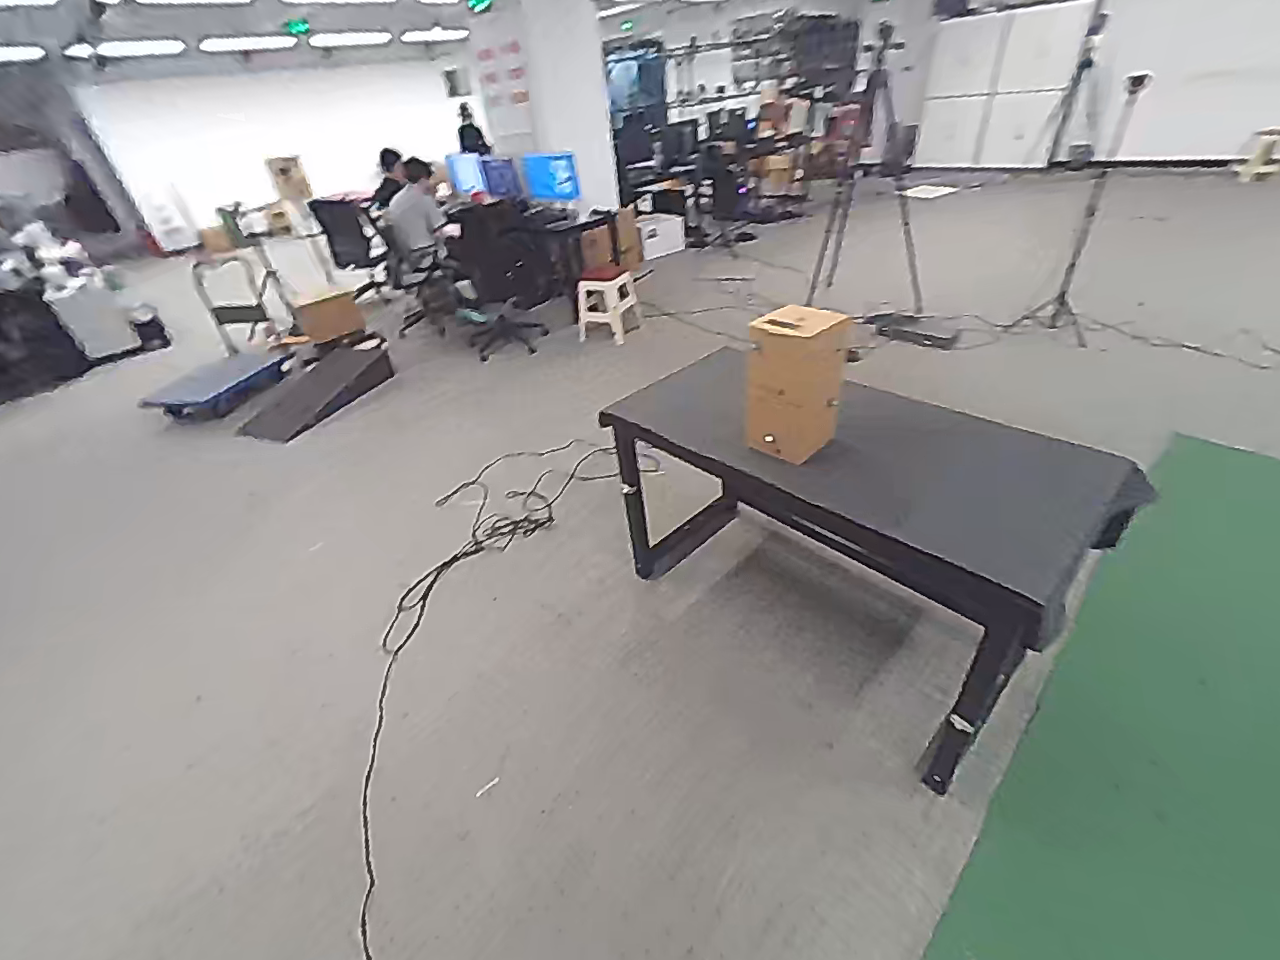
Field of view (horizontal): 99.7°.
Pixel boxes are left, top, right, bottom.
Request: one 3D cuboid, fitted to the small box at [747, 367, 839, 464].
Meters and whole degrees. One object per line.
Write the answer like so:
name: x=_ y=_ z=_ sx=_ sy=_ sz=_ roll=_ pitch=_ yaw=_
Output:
small box: x=0.388 y=-0.170 z=1.401 sx=0.179 sy=0.176 sz=0.168 roll=-33 pitch=43 yaw=-32
